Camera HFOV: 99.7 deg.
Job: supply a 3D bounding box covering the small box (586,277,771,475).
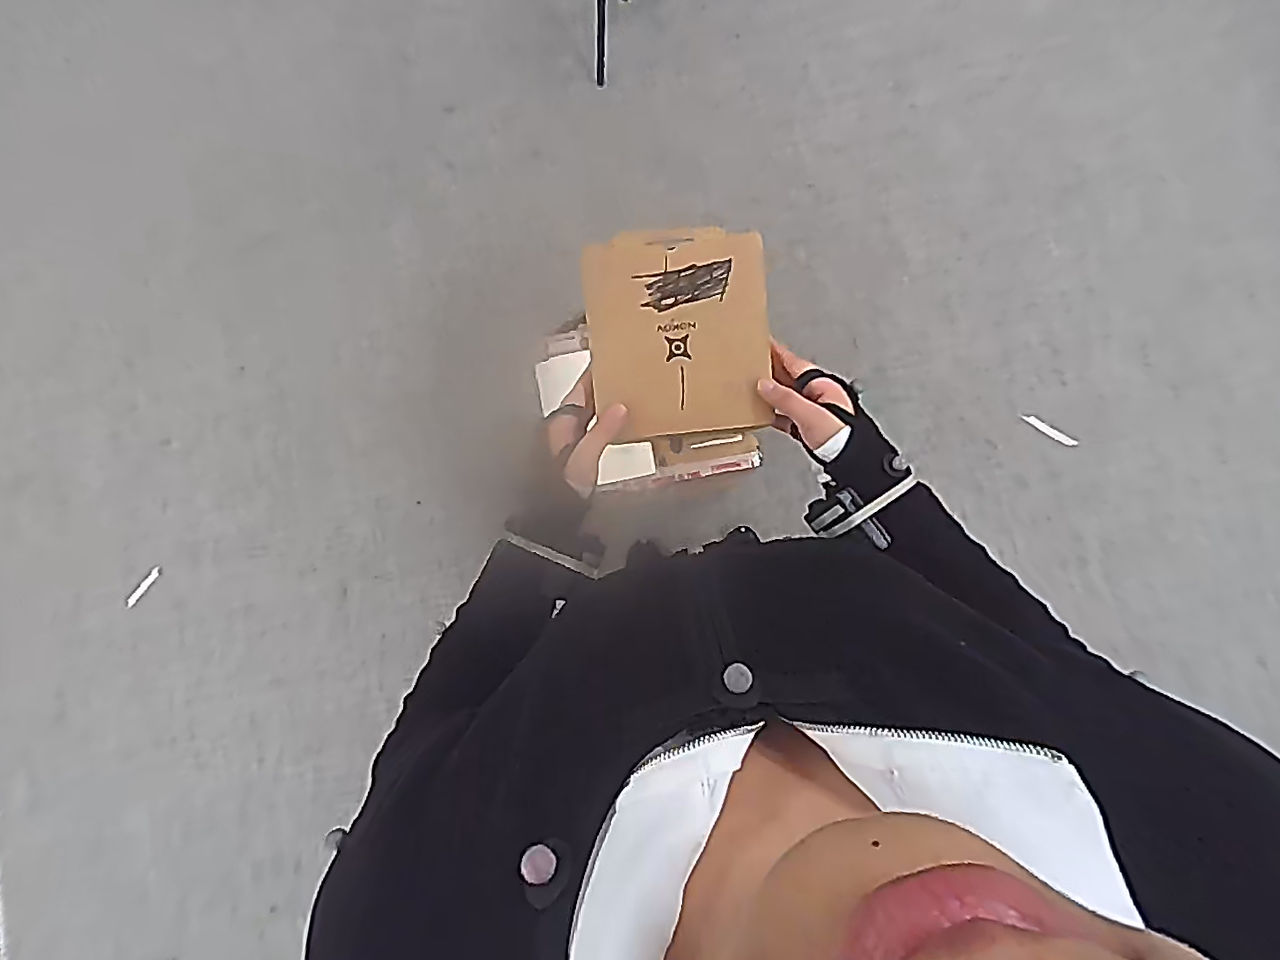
[{"bbox_3d":[0.036,-0.100,0.587,0.168,0.176,0.179,-6,93,1],"label":"small box"}]
